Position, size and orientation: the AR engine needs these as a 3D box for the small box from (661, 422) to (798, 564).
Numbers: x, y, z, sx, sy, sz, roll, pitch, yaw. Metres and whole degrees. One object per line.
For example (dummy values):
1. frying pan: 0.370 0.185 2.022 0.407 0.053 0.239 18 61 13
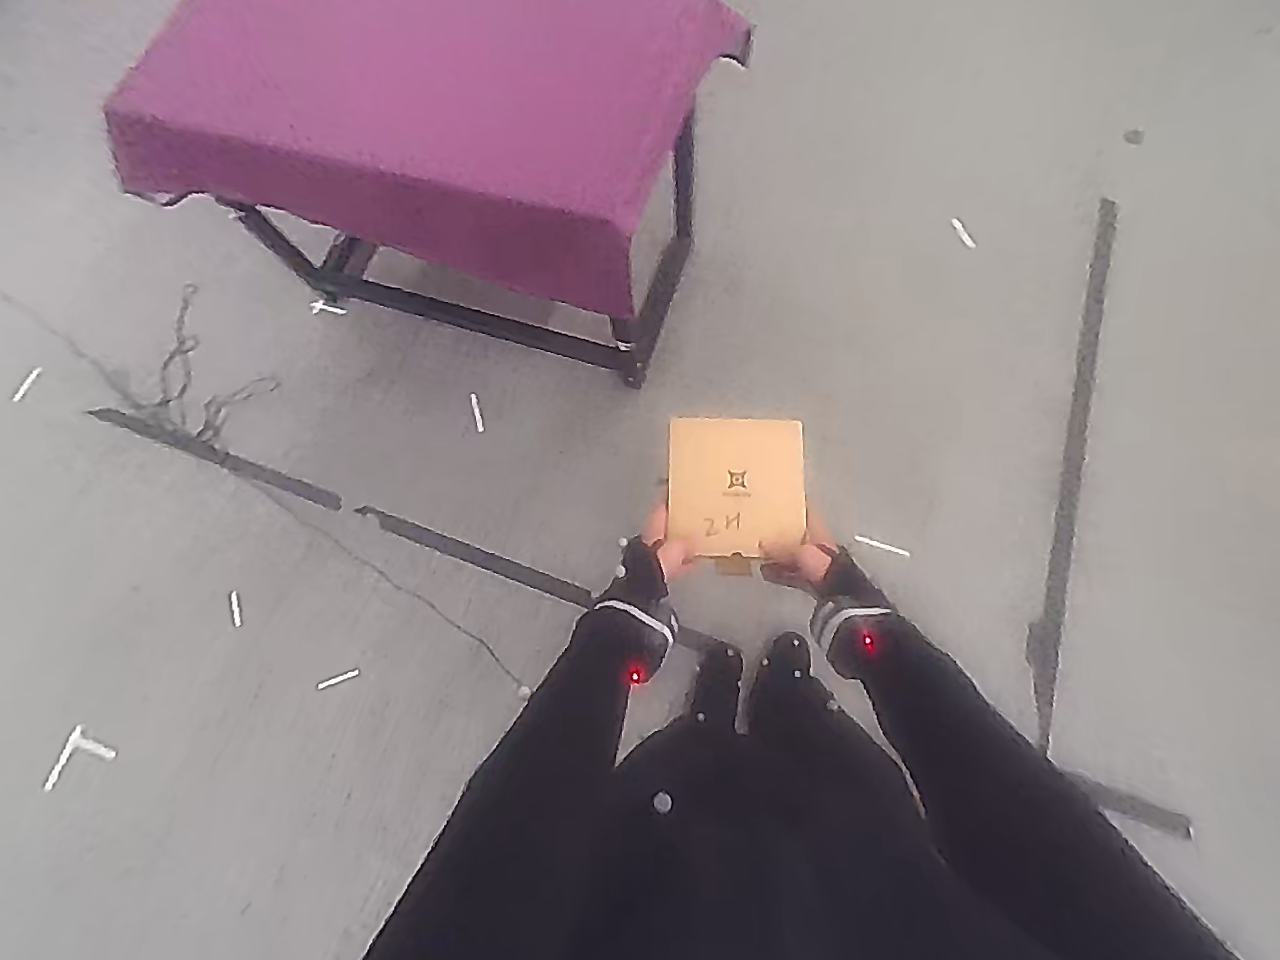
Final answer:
1. small box: 0.113 0.024 0.743 0.168 0.176 0.179 0 84 2
